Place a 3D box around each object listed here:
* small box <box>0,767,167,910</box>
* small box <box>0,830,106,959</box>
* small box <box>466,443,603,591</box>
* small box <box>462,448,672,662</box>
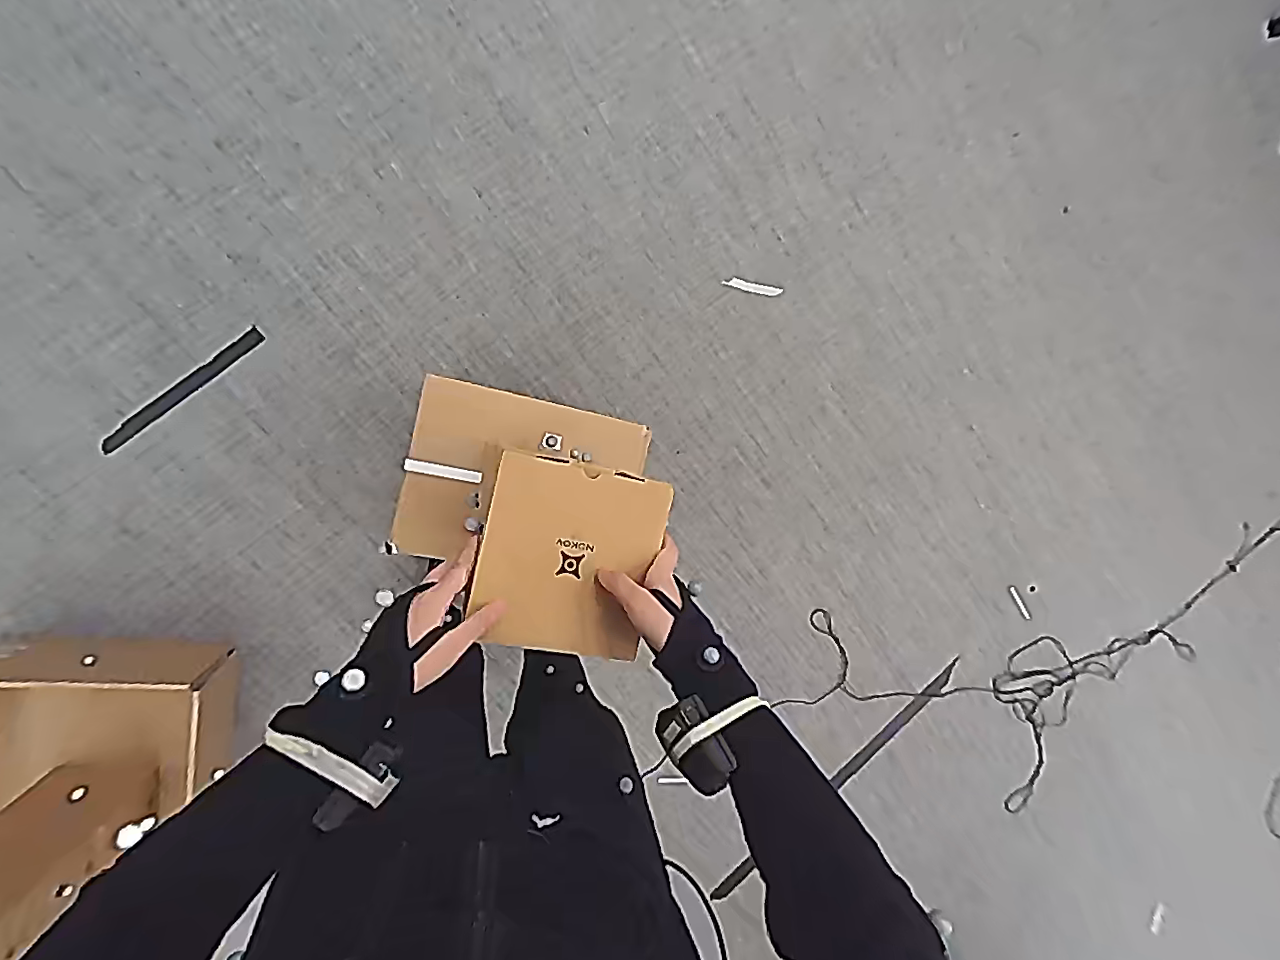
[{"bbox_3d":[-1.035,0.661,1.004,0.179,0.176,0.168,6,95,-17],"label":"small box"},{"bbox_3d":[-0.994,0.686,0.849,0.179,0.176,0.168,2,95,-15],"label":"small box"},{"bbox_3d":[-0.133,0.053,0.730,0.168,0.176,0.179,11,93,-17],"label":"small box"},{"bbox_3d":[-0.084,0.069,0.575,0.168,0.176,0.179,12,91,-17],"label":"small box"}]
